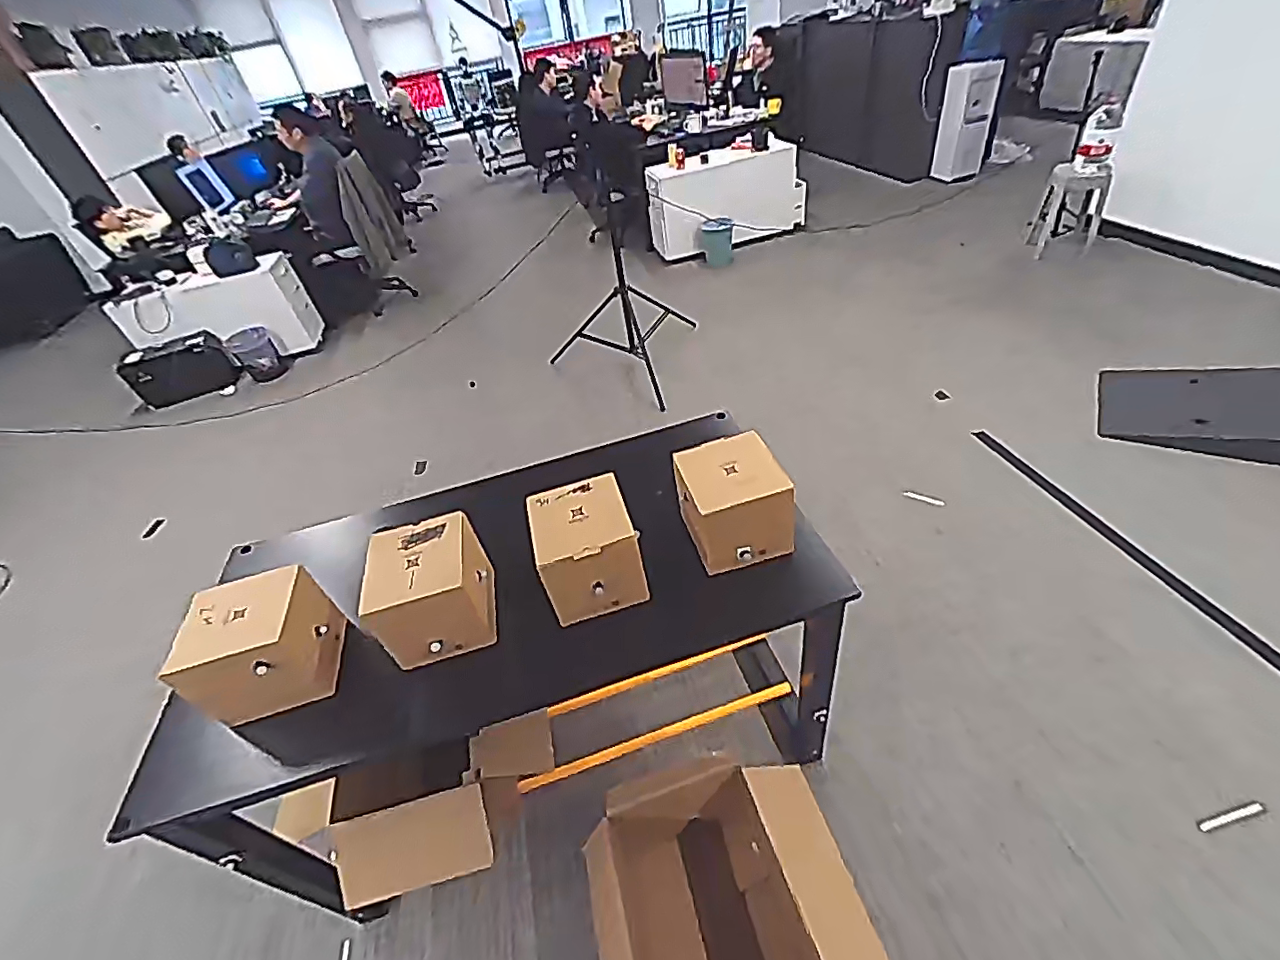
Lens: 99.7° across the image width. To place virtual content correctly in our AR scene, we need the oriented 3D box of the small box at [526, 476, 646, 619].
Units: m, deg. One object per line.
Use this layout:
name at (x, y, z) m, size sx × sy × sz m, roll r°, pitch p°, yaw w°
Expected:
small box at (-0.096, 0.128, 0.971) m, size 0.168 × 0.176 × 0.179 m, roll -16°, pitch 41°, yaw -5°

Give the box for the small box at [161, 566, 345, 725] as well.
small box at (-0.632, 0.280, 0.915) m, size 0.179 × 0.176 × 0.168 m, roll -16°, pitch 40°, yaw -7°

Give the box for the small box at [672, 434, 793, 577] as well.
small box at (0.168, 0.047, 1.002) m, size 0.168 × 0.176 × 0.179 m, roll -17°, pitch 41°, yaw -4°

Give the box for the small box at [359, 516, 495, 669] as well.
small box at (-0.362, 0.197, 0.951) m, size 0.168 × 0.176 × 0.179 m, roll -16°, pitch 41°, yaw -5°
